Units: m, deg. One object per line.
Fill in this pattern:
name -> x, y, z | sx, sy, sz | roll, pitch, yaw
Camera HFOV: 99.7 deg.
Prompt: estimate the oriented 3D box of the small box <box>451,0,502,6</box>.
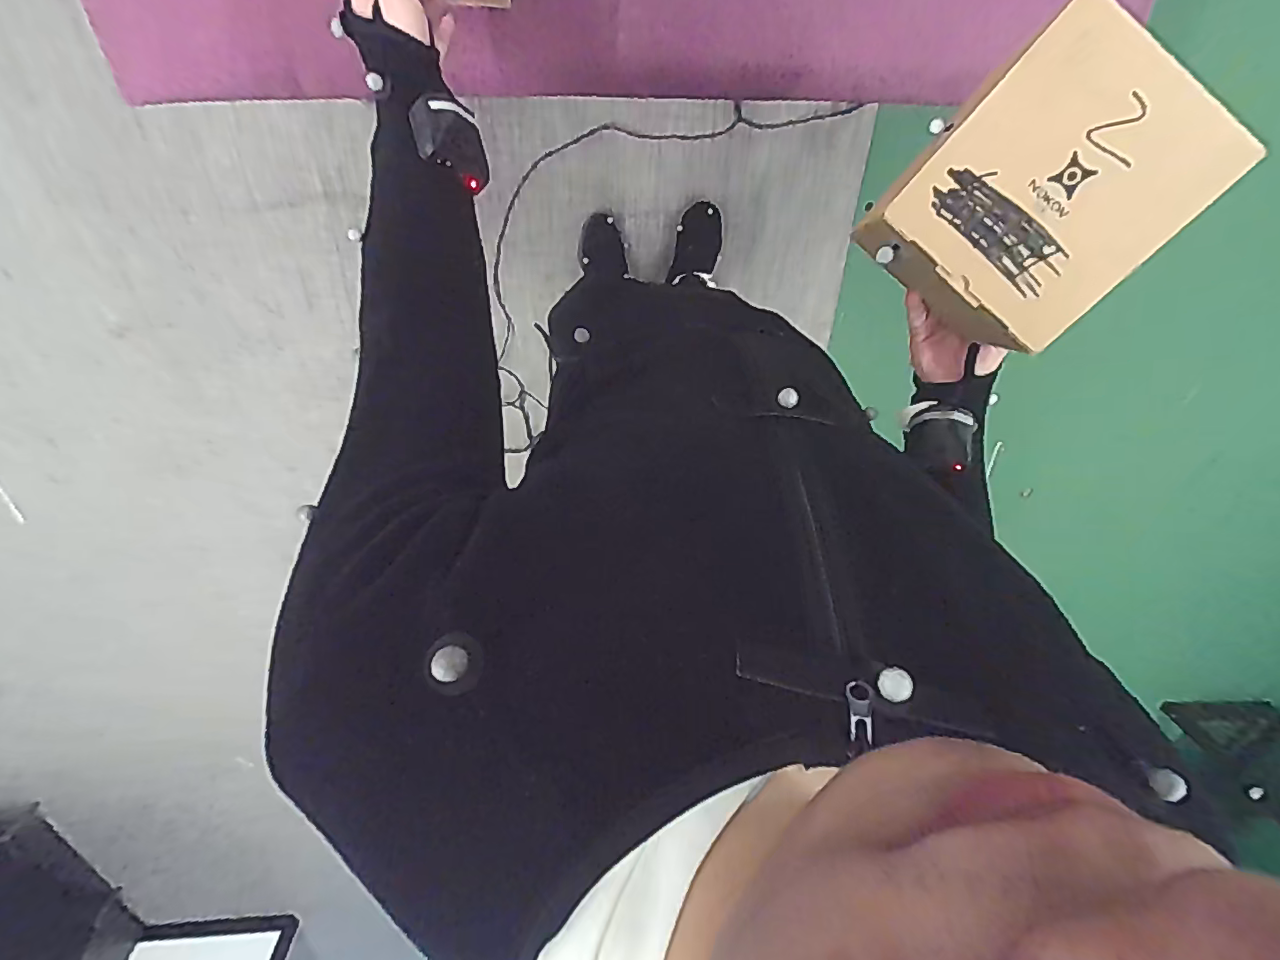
small box -> -0.218, -0.566, 0.489 | 0.168, 0.176, 0.179 | 1, 118, -6
